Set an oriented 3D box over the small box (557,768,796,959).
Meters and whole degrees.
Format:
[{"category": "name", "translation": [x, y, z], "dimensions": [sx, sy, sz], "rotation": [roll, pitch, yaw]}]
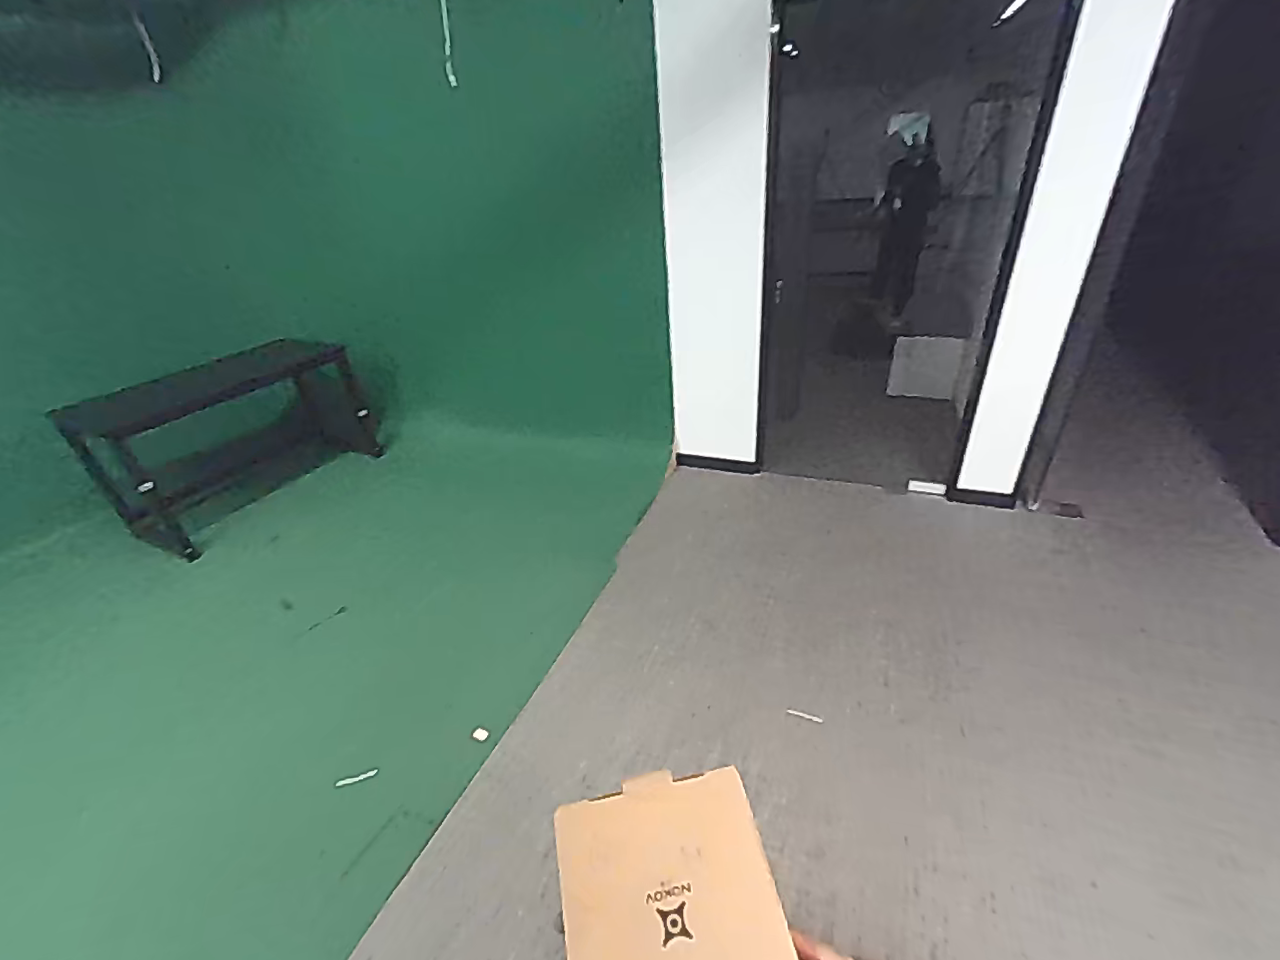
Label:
[{"category": "small box", "translation": [0.025, 0.387, 0.471], "dimensions": [0.168, 0.176, 0.179], "rotation": [-10, 46, -9]}]
